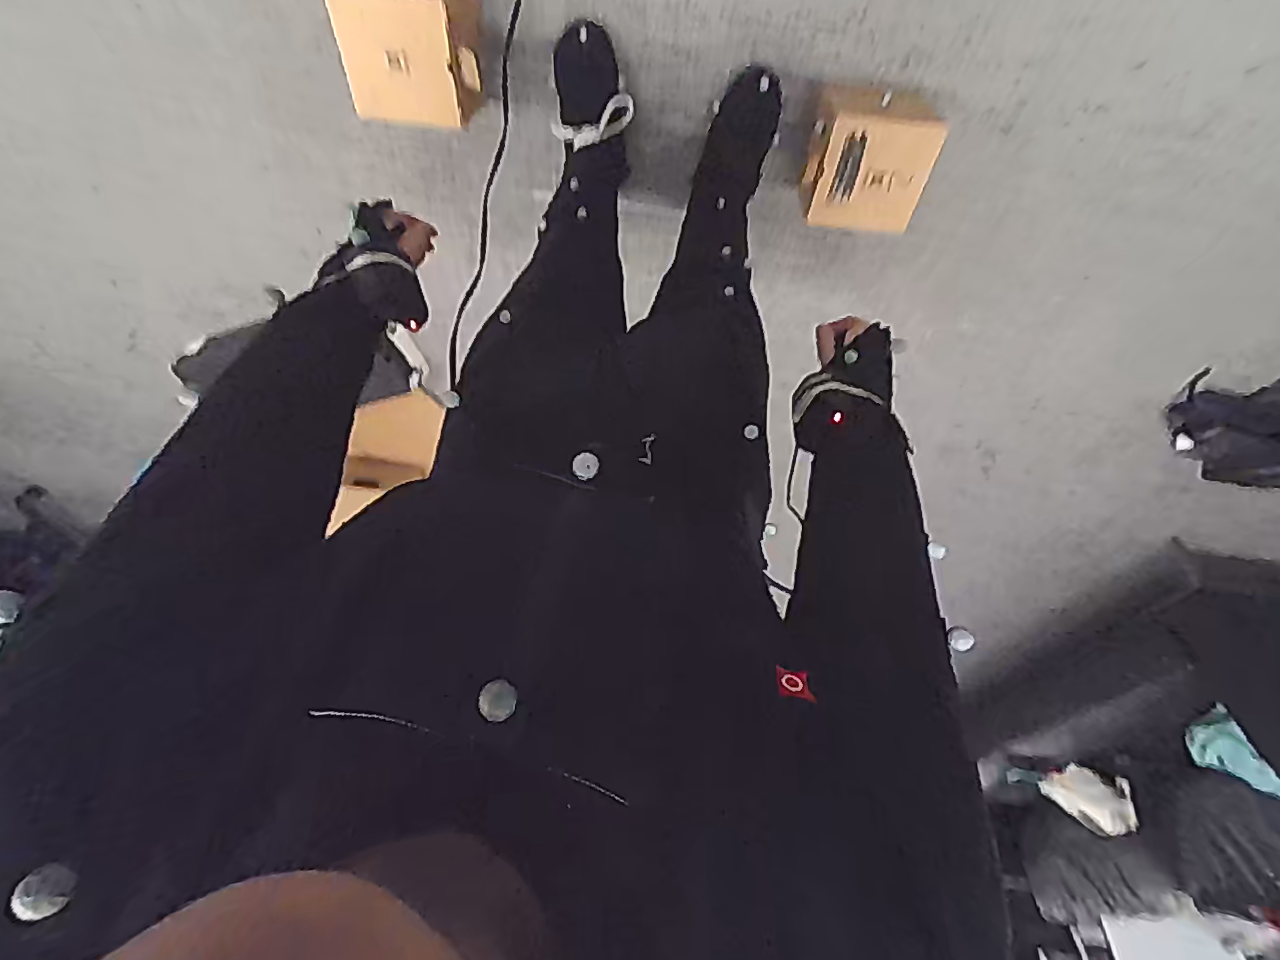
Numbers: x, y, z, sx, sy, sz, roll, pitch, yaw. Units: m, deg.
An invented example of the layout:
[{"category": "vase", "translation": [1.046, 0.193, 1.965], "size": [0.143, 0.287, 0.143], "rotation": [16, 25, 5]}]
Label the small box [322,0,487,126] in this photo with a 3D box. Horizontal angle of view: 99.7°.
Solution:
[{"category": "small box", "translation": [-0.361, -0.692, 0.859], "size": [0.179, 0.176, 0.168], "rotation": [6, 141, 0]}]
